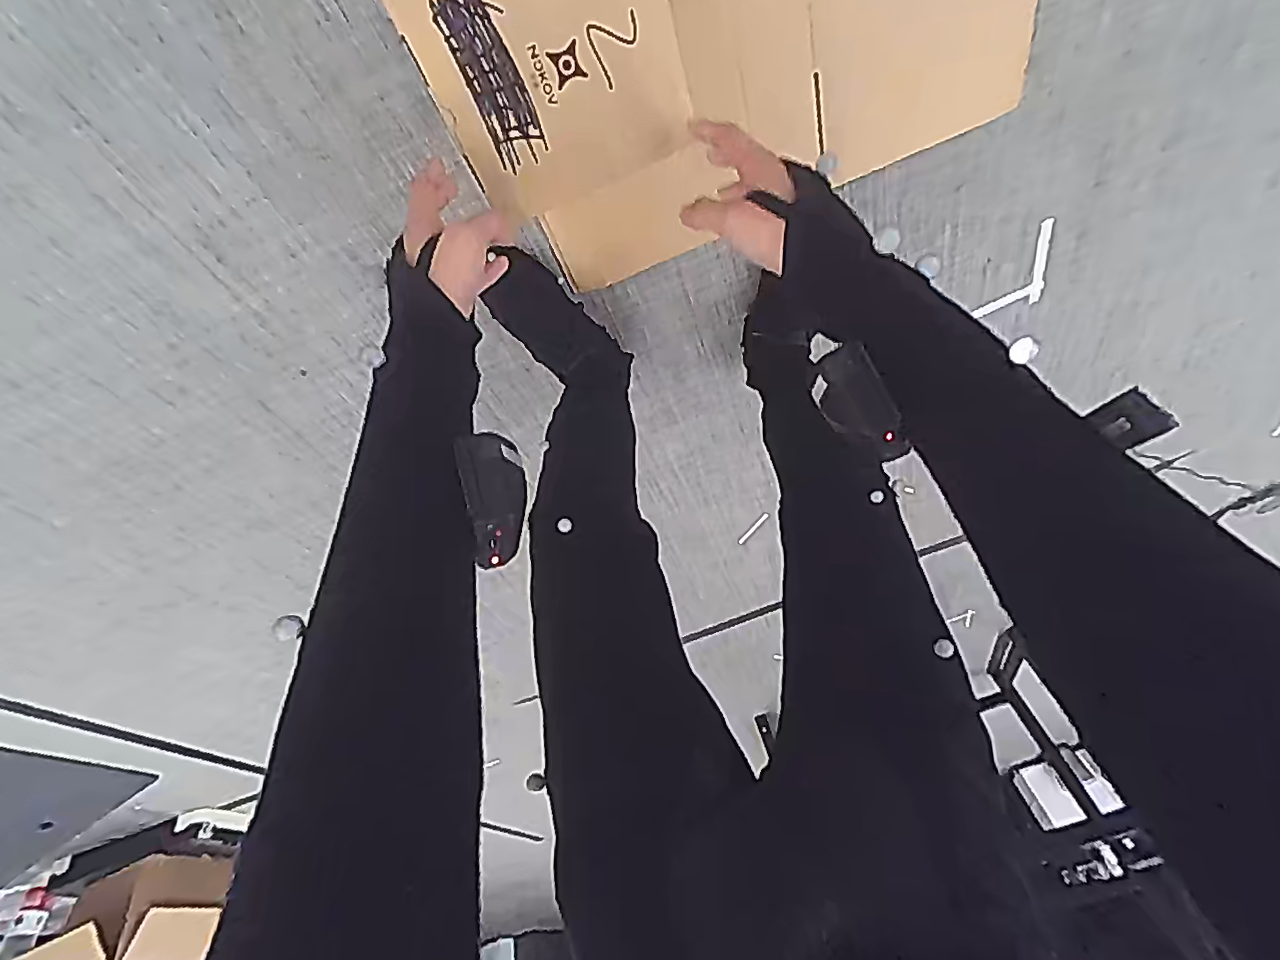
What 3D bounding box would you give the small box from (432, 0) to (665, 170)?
[{"bbox_3d":[-0.094,-0.458,0.550,0.179,0.176,0.168,-21,136,7],"label":"small box"}]
